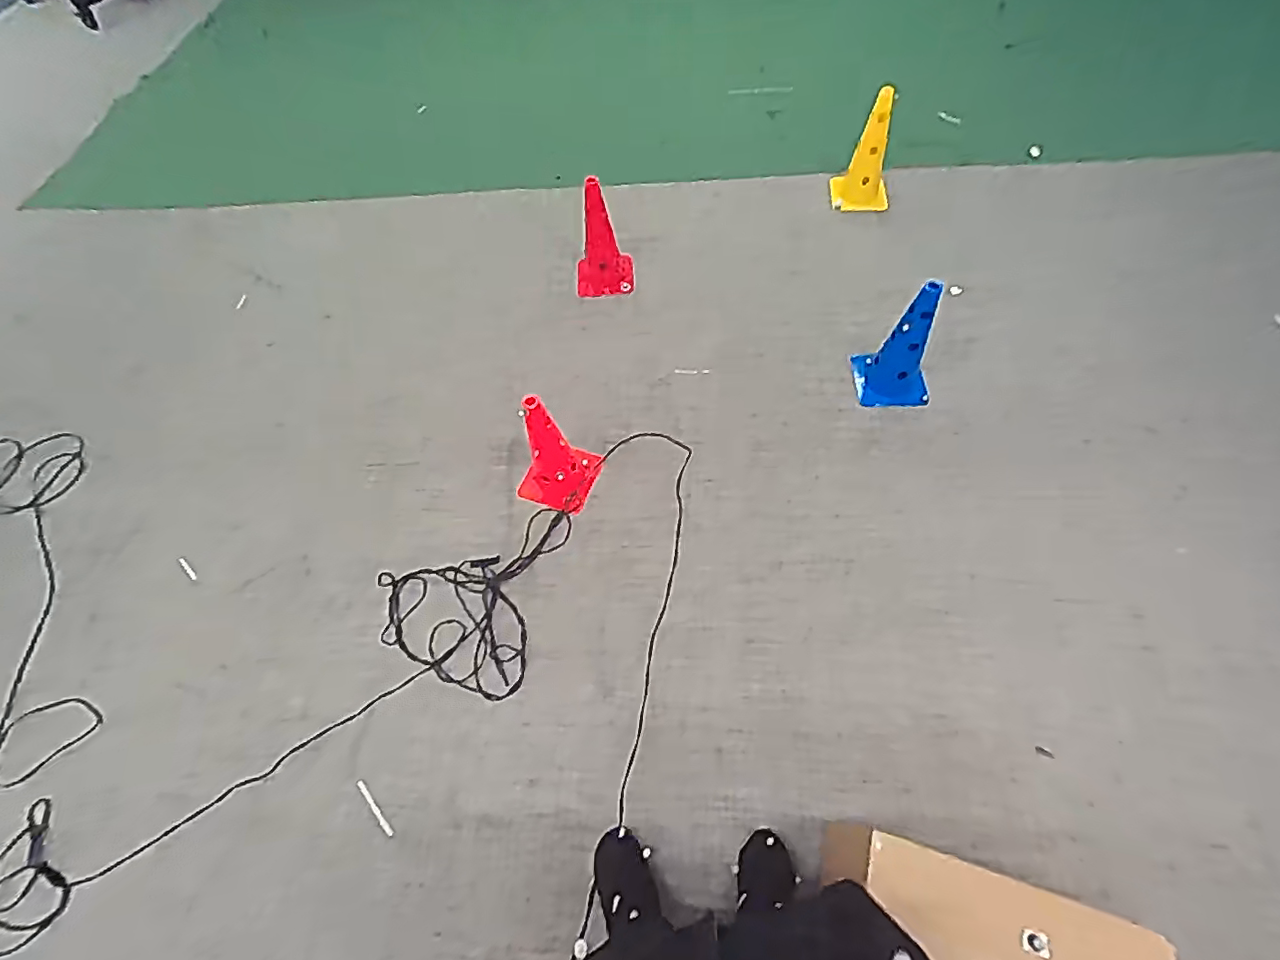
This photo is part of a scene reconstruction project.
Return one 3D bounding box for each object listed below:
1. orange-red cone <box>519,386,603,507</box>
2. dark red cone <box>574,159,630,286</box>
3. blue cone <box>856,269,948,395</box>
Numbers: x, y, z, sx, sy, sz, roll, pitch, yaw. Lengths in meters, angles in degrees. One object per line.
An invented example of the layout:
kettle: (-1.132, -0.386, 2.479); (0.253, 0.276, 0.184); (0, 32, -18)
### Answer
orange-red cone: (-0.244, -0.112, 1.398); (0.199, 0.360, 0.198); (17, 63, 17)
dark red cone: (-0.152, -0.850, 1.781); (0.202, 0.394, 0.201); (-7, 57, 2)
blue cone: (0.738, -0.410, 1.474); (0.192, 0.380, 0.193); (0, 61, 6)
